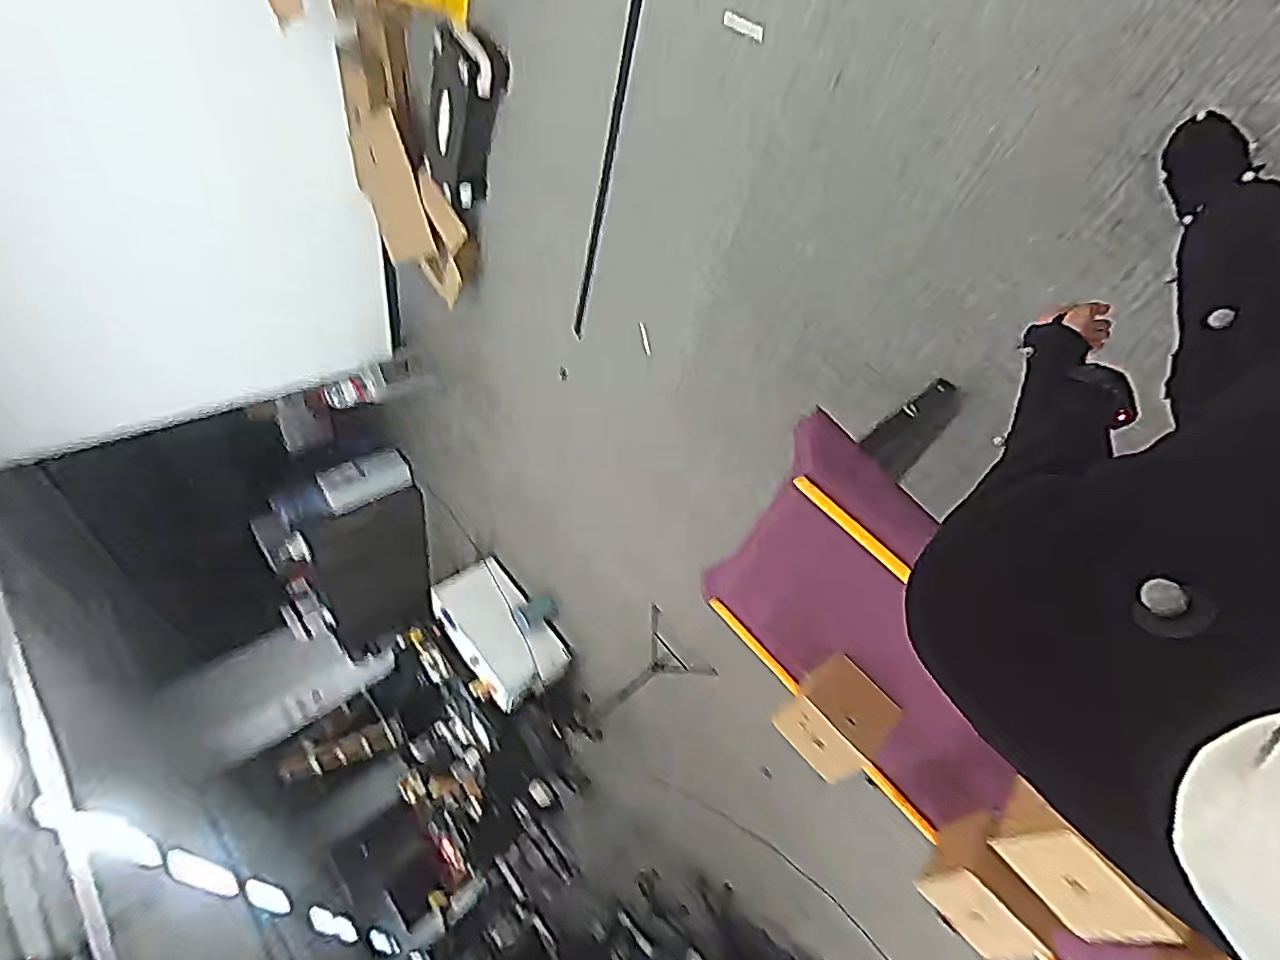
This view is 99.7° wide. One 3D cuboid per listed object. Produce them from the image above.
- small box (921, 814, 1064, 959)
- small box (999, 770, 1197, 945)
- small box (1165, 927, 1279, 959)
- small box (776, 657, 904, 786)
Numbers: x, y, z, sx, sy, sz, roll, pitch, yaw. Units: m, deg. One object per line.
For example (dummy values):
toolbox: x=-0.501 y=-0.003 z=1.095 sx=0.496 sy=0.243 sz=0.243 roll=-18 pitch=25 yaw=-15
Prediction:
small box: x=0.710 y=0.810 z=1.075 sx=0.168 sy=0.176 sz=0.179 roll=43 pitch=139 yaw=23
small box: x=0.753 y=0.613 z=0.895 sx=0.179 sy=0.176 sz=0.168 roll=46 pitch=142 yaw=19
small box: x=0.932 y=0.813 z=0.804 sx=0.179 sy=0.176 sz=0.168 roll=48 pitch=142 yaw=18
small box: x=0.449 y=0.536 z=1.211 sx=0.179 sy=0.176 sz=0.168 roll=45 pitch=139 yaw=21
